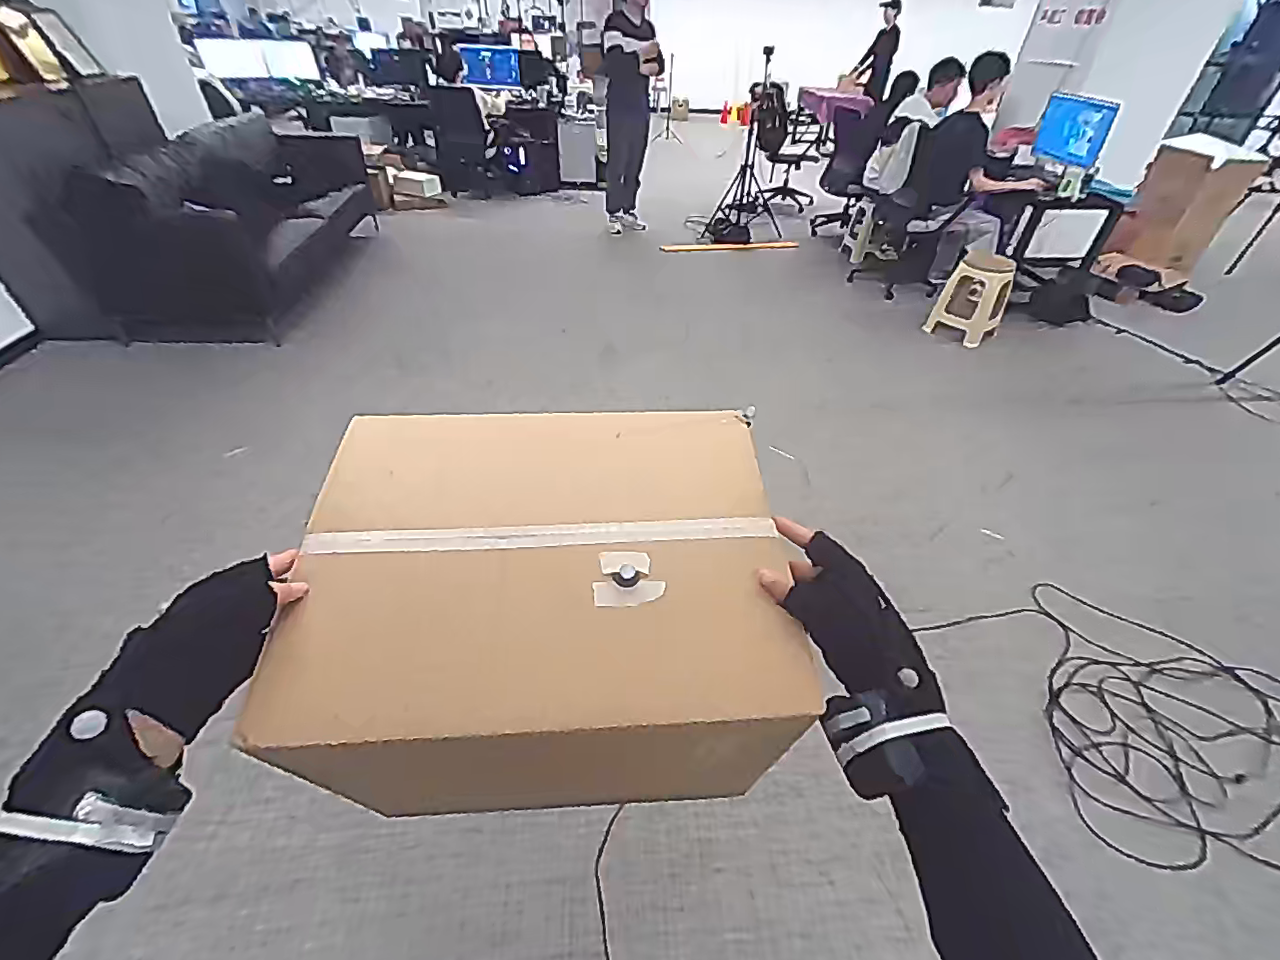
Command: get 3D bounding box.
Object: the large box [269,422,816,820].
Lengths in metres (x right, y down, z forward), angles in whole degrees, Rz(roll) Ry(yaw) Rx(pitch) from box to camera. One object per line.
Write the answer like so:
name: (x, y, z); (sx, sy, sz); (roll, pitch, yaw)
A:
large box: (-0.081, 0.156, 0.597); (0.408, 0.320, 0.320); (-2, 51, -4)
